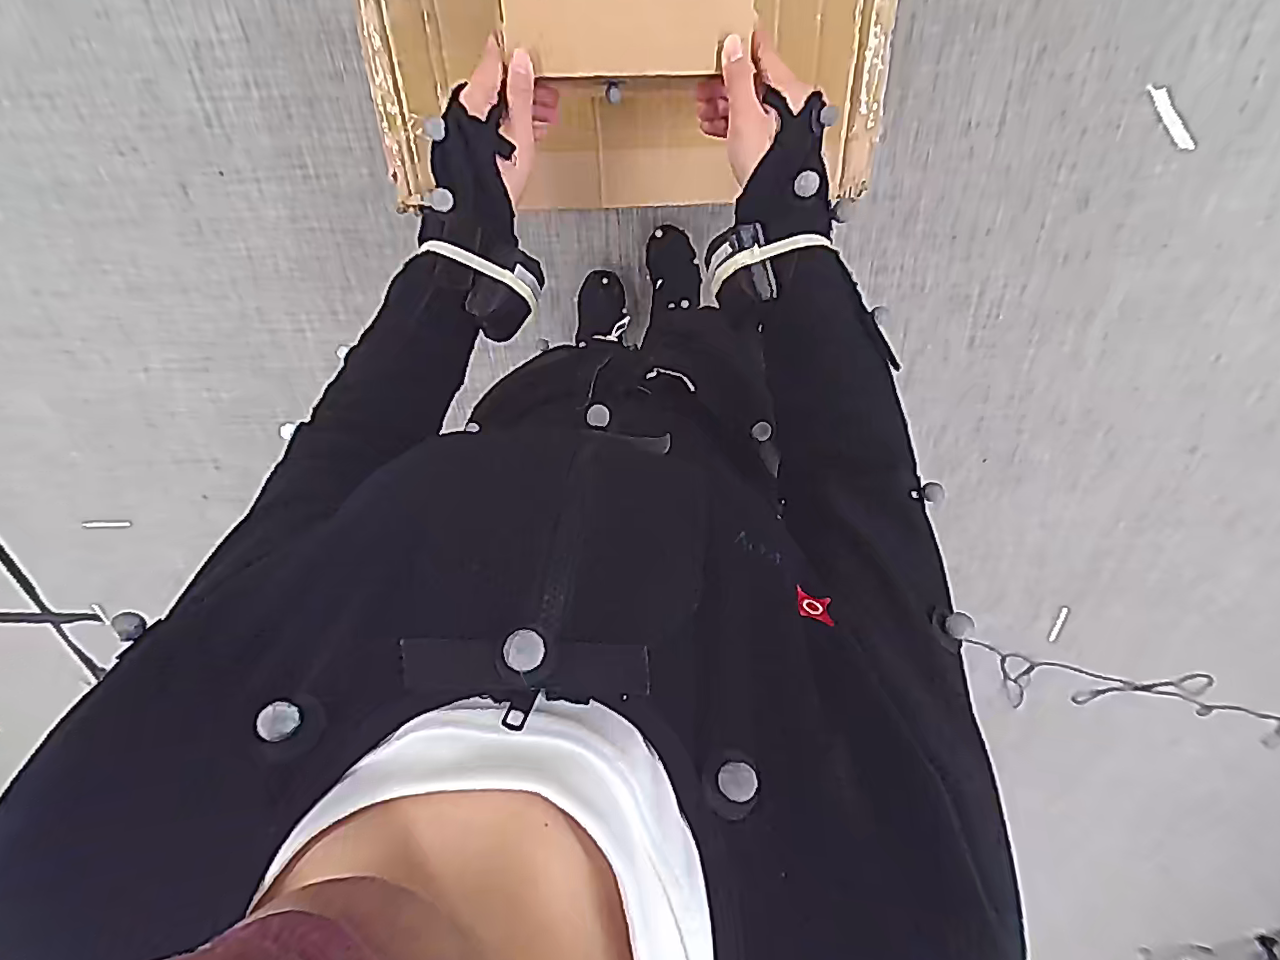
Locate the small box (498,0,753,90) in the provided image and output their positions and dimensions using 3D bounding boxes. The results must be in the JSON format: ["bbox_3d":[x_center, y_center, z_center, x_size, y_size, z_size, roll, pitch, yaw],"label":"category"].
[{"bbox_3d":[-0.008,-0.405,0.410,0.179,0.176,0.168,0,122,1],"label":"small box"}]
